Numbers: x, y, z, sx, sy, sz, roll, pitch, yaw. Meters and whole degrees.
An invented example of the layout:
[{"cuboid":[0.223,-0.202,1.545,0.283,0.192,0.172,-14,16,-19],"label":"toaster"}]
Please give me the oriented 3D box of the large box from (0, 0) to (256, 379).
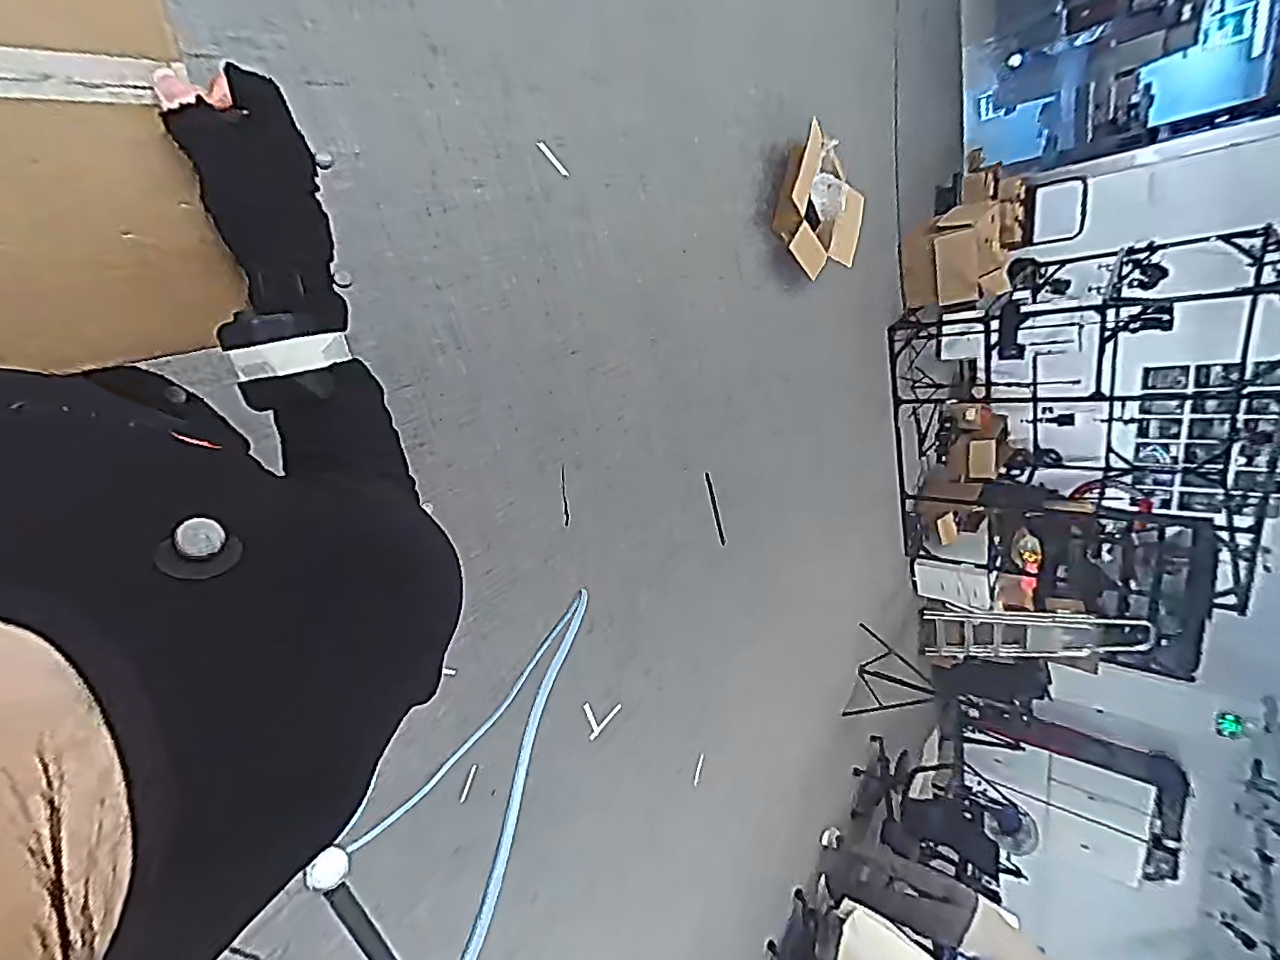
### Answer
[{"cuboid":[-0.512,-0.233,0.267,0.408,0.320,0.320,-28,144,-38],"label":"large box"}]
